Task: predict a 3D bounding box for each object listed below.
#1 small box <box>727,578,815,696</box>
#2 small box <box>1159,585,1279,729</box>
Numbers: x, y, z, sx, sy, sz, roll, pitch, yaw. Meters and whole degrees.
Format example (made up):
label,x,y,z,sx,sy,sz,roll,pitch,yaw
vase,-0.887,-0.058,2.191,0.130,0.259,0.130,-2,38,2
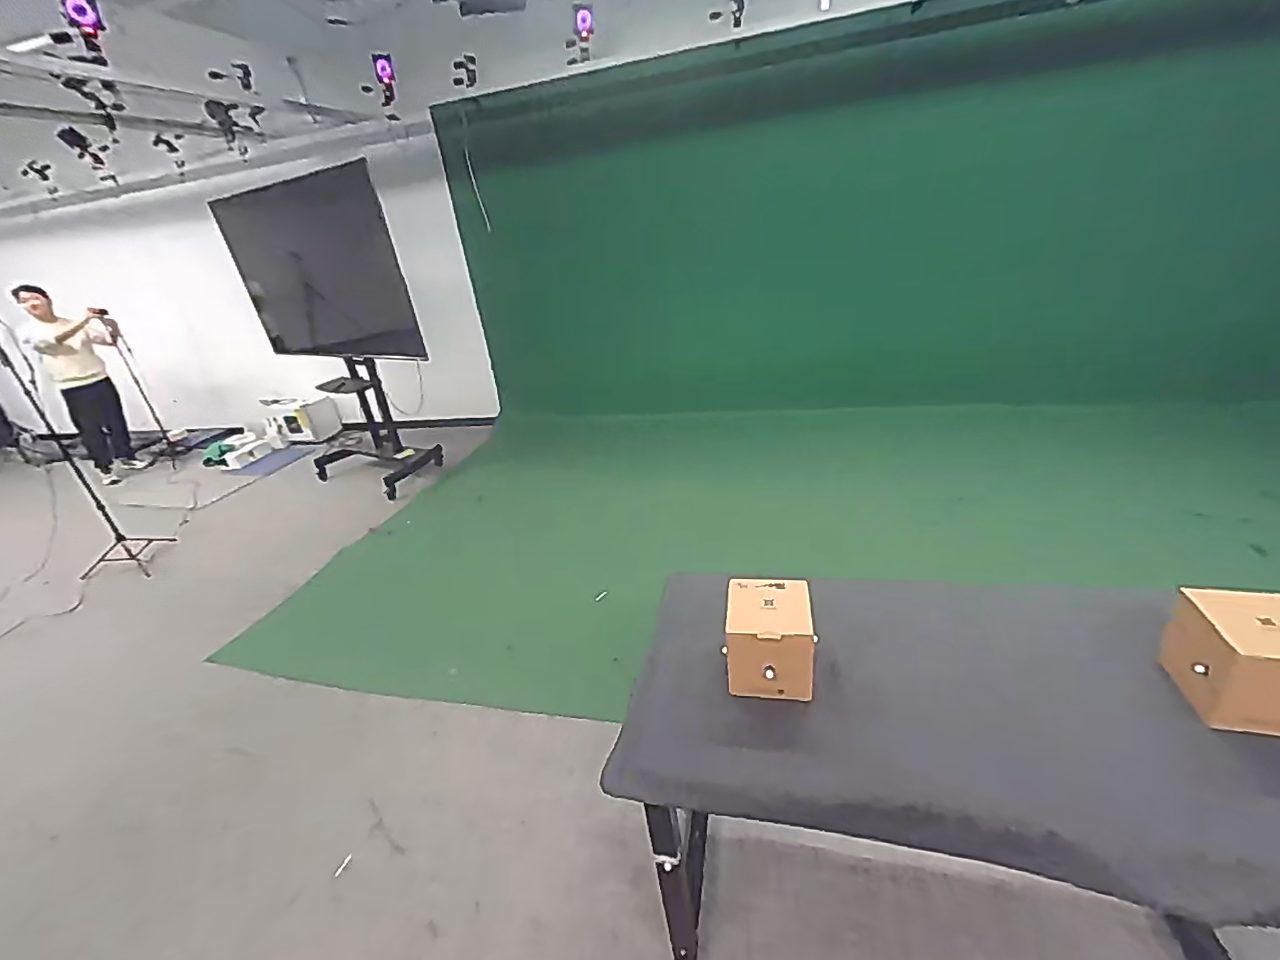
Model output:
label,x,y,z,sx,sy,sz,roll,pitch,yaw
small box,0.275,0.325,1.129,0.168,0.176,0.179,-1,27,13
small box,1.059,0.306,0.932,0.168,0.176,0.179,1,26,17
